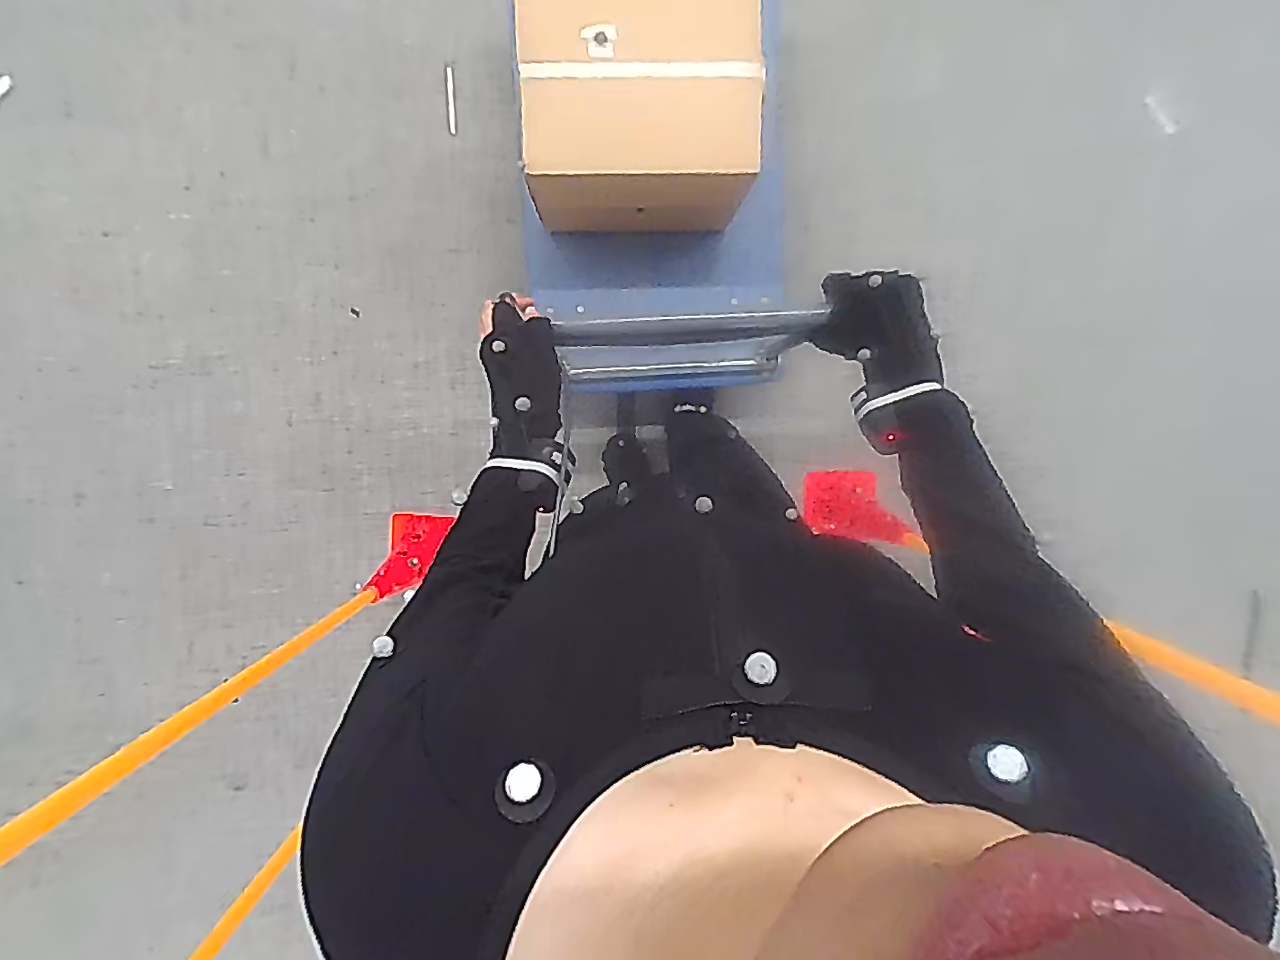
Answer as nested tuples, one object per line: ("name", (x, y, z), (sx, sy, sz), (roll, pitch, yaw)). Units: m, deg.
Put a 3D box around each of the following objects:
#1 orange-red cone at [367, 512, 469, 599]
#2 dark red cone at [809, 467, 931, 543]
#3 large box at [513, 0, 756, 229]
("orange-red cone", (-0.561, 0.209, 1.296), (0.198, 0.360, 0.199), (6, 96, -4))
("dark red cone", (0.567, 0.088, 1.300), (0.201, 0.394, 0.202), (-2, 98, -4))
("large box", (-0.007, -0.695, 1.049), (0.408, 0.320, 0.320), (-2, 98, -2))
